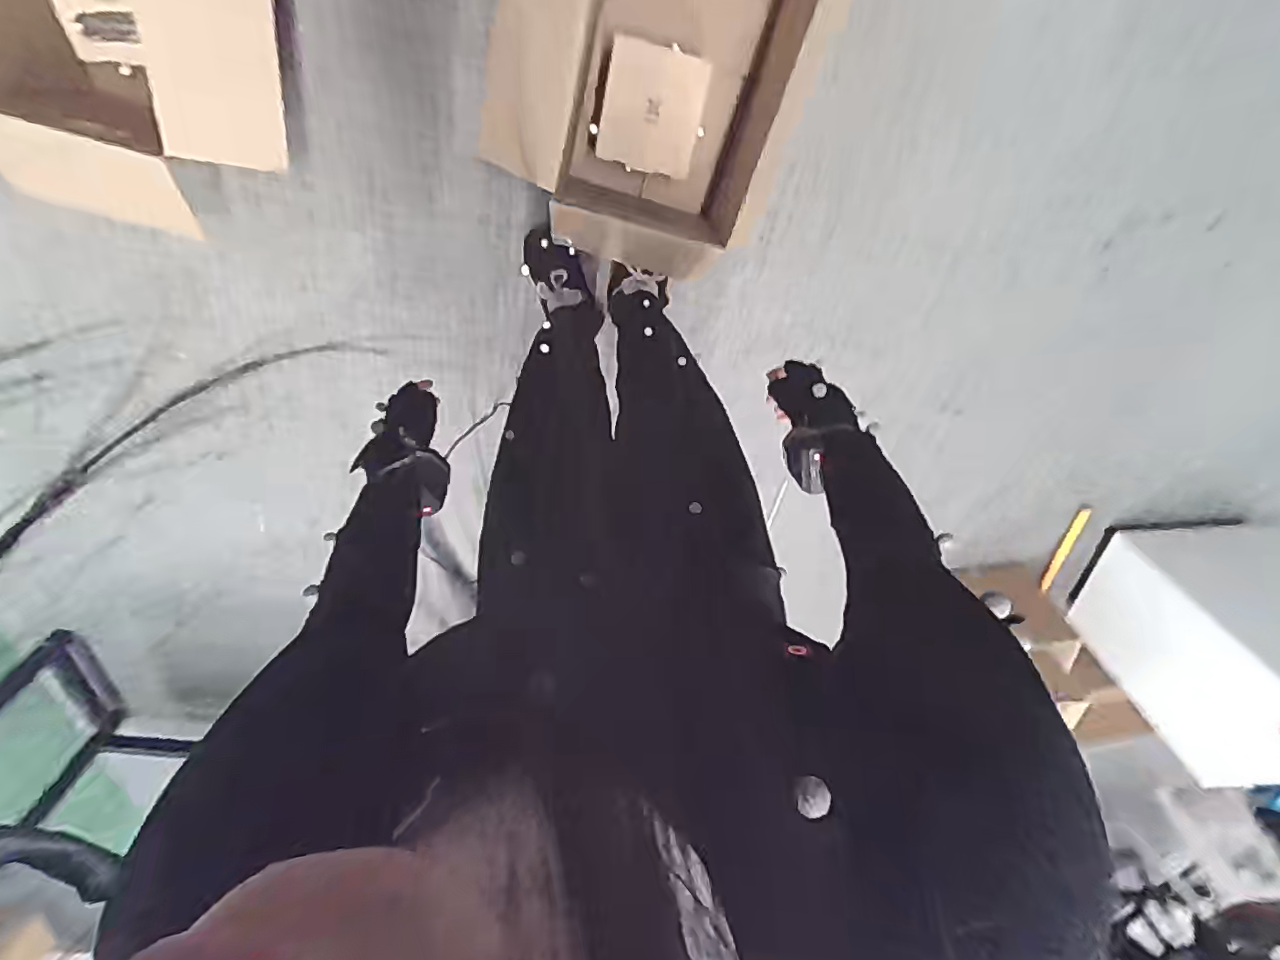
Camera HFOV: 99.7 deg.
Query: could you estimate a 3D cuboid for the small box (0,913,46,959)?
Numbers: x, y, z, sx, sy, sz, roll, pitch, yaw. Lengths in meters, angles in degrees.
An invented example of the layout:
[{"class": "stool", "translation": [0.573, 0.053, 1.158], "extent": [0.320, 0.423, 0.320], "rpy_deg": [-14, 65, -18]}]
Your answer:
[{"class": "small box", "translation": [-1.737, 1.262, 1.416], "extent": [0.168, 0.176, 0.179], "rpy_deg": [11, 124, -10]}]
